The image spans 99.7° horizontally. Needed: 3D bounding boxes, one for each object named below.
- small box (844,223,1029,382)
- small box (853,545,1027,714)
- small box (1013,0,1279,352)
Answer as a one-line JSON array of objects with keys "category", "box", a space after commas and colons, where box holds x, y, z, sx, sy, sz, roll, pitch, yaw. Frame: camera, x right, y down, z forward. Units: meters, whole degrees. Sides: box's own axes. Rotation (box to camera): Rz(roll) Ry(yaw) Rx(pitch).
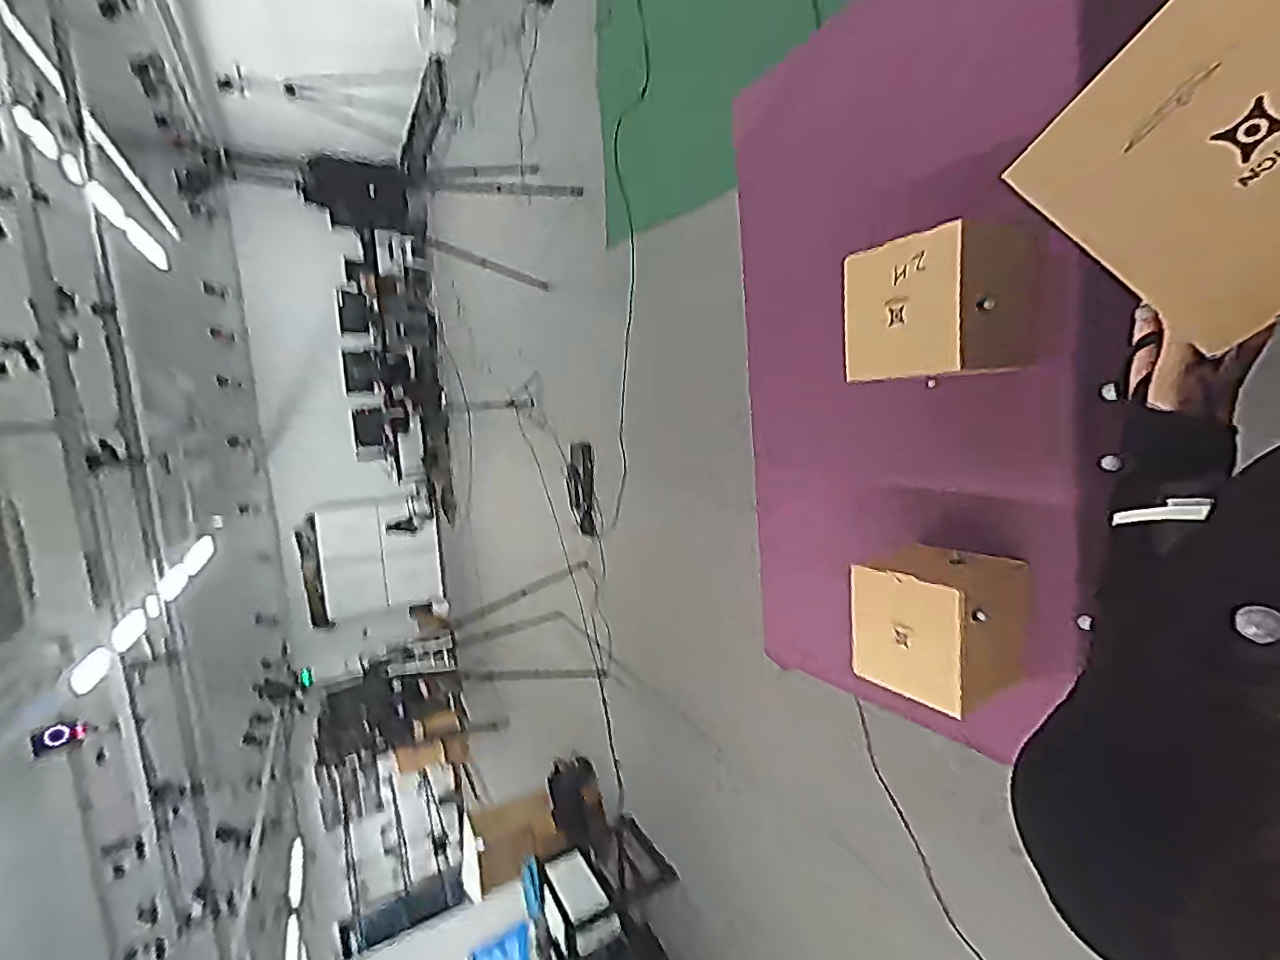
[{"category": "small box", "box": [0.406, -0.232, 0.745, 0.168, 0.176, 0.179, 8, 104, 59]}, {"category": "small box", "box": [0.439, 0.205, 0.796, 0.168, 0.176, 0.179, 5, 100, 60]}, {"category": "small box", "box": [0.394, -0.212, 0.346, 0.179, 0.176, 0.168, 55, 137, 14]}]
